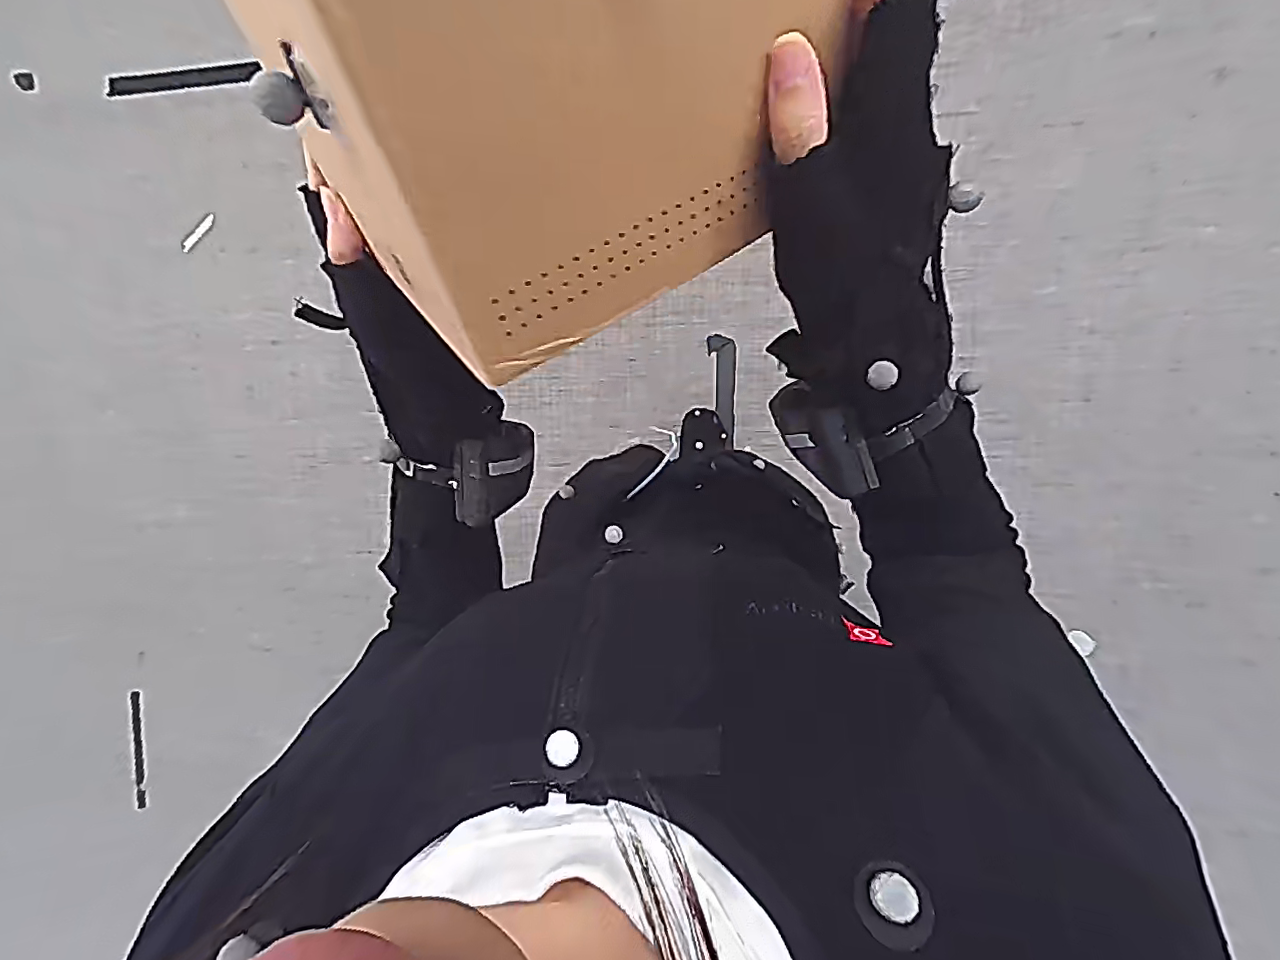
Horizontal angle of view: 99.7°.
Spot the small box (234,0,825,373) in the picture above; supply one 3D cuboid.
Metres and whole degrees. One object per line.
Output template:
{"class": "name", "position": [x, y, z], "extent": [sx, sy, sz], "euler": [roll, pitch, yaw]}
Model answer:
{"class": "small box", "position": [-0.043, -0.172, 0.208], "extent": [0.179, 0.176, 0.168], "euler": [-33, 54, -15]}
